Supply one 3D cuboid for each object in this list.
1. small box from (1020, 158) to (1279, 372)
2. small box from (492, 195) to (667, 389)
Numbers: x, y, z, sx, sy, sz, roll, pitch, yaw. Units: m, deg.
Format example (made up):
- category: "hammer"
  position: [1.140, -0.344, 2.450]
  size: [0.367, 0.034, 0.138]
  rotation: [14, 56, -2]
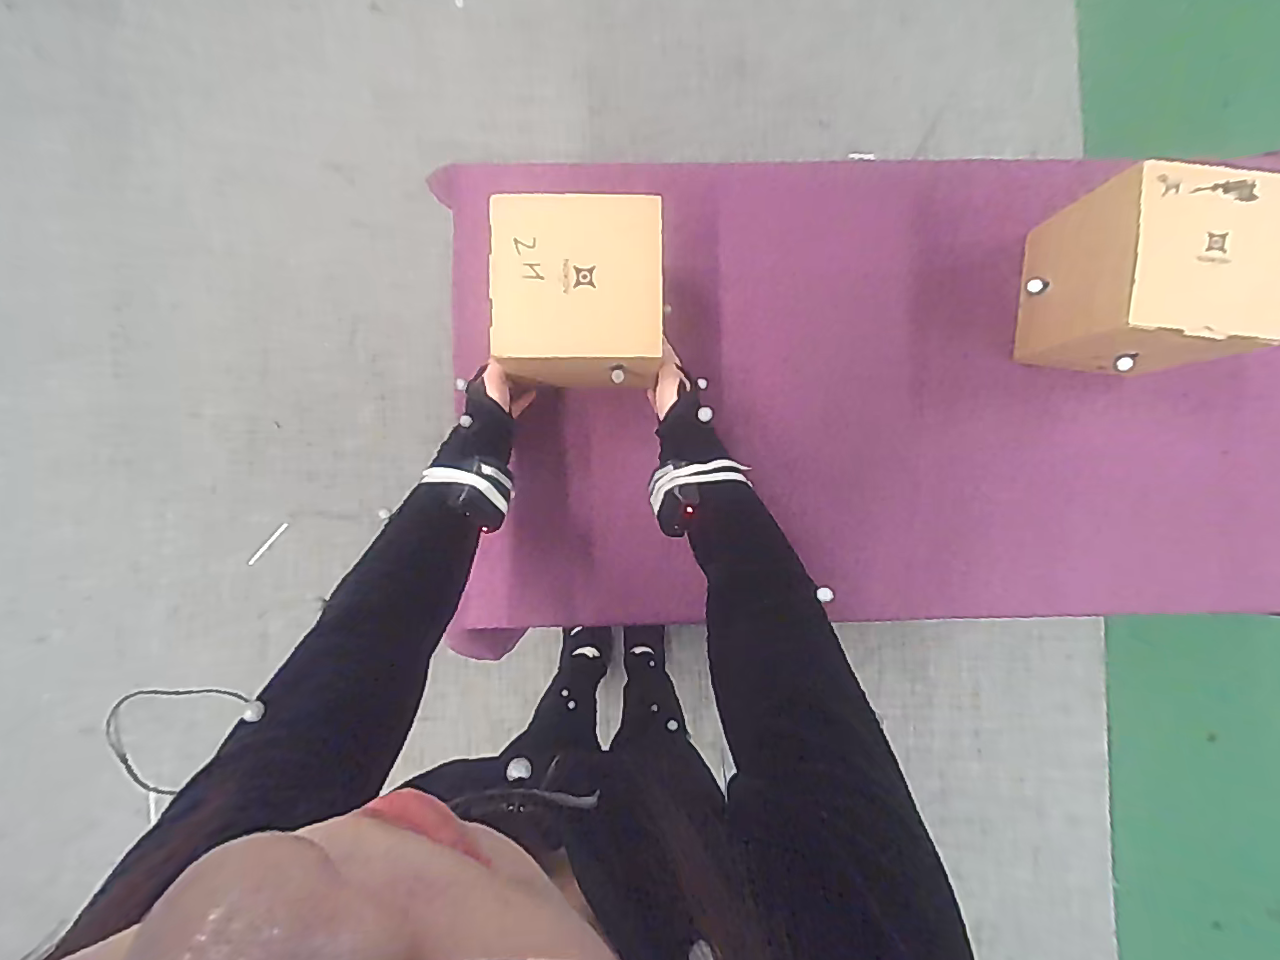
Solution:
- category: "small box"
  position: [0.581, -0.231, 0.626]
  size: [0.168, 0.176, 0.179]
  rotation: [7, 90, -1]
- category: "small box"
  position: [-0.063, -0.203, 0.625]
  size: [0.179, 0.176, 0.168]
  rotation: [0, 89, 0]
